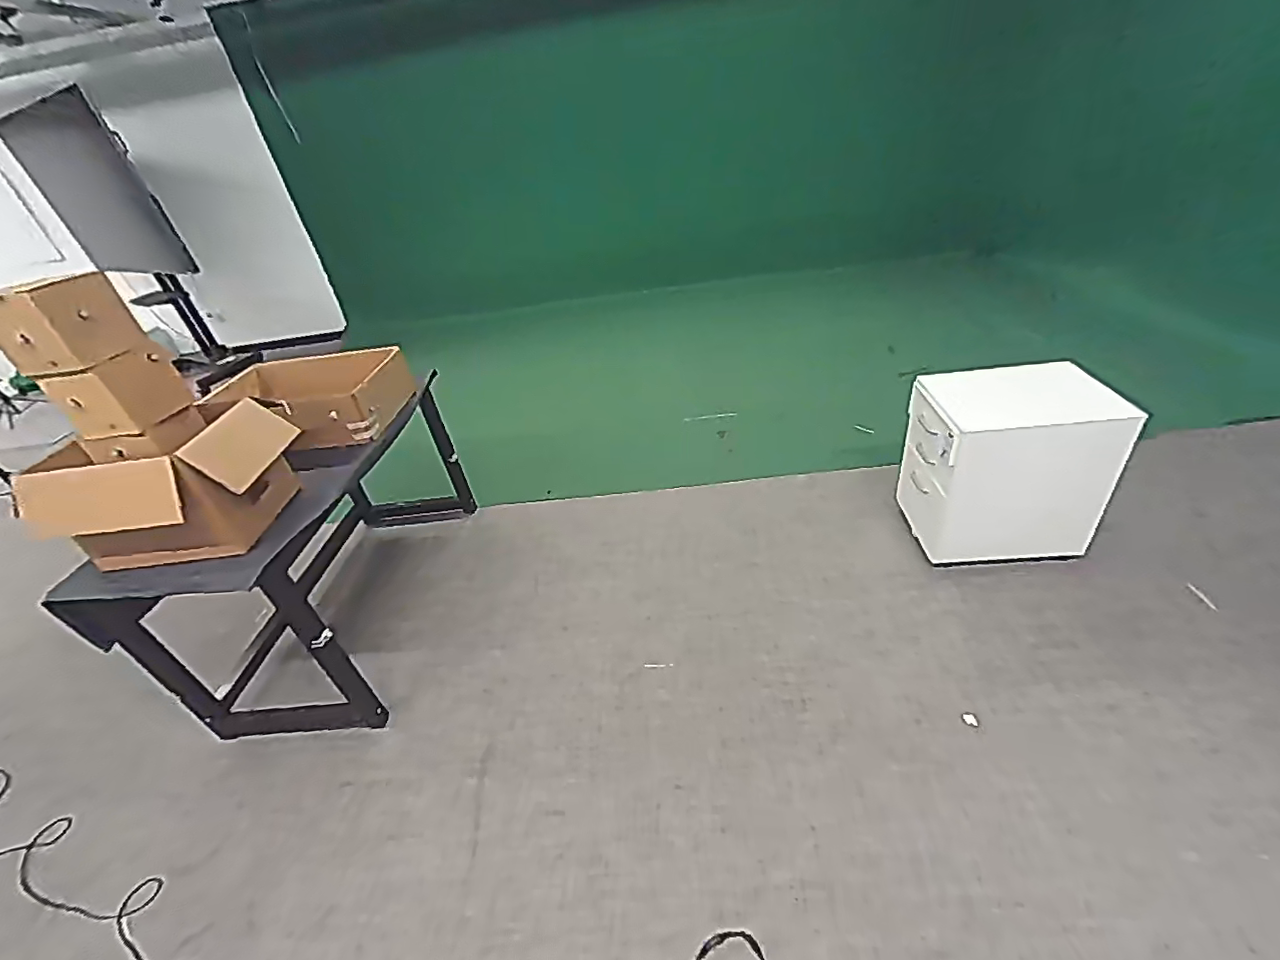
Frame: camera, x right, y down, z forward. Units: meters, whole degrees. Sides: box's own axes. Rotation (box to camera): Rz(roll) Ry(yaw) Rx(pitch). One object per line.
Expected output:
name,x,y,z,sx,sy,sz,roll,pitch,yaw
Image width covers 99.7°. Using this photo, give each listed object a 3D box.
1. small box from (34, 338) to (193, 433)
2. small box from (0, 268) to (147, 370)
small box,-1.235,-0.221,1.287,0.168,0.176,0.179,-3,35,10
small box,-1.263,-0.349,1.188,0.168,0.176,0.179,-3,35,8
